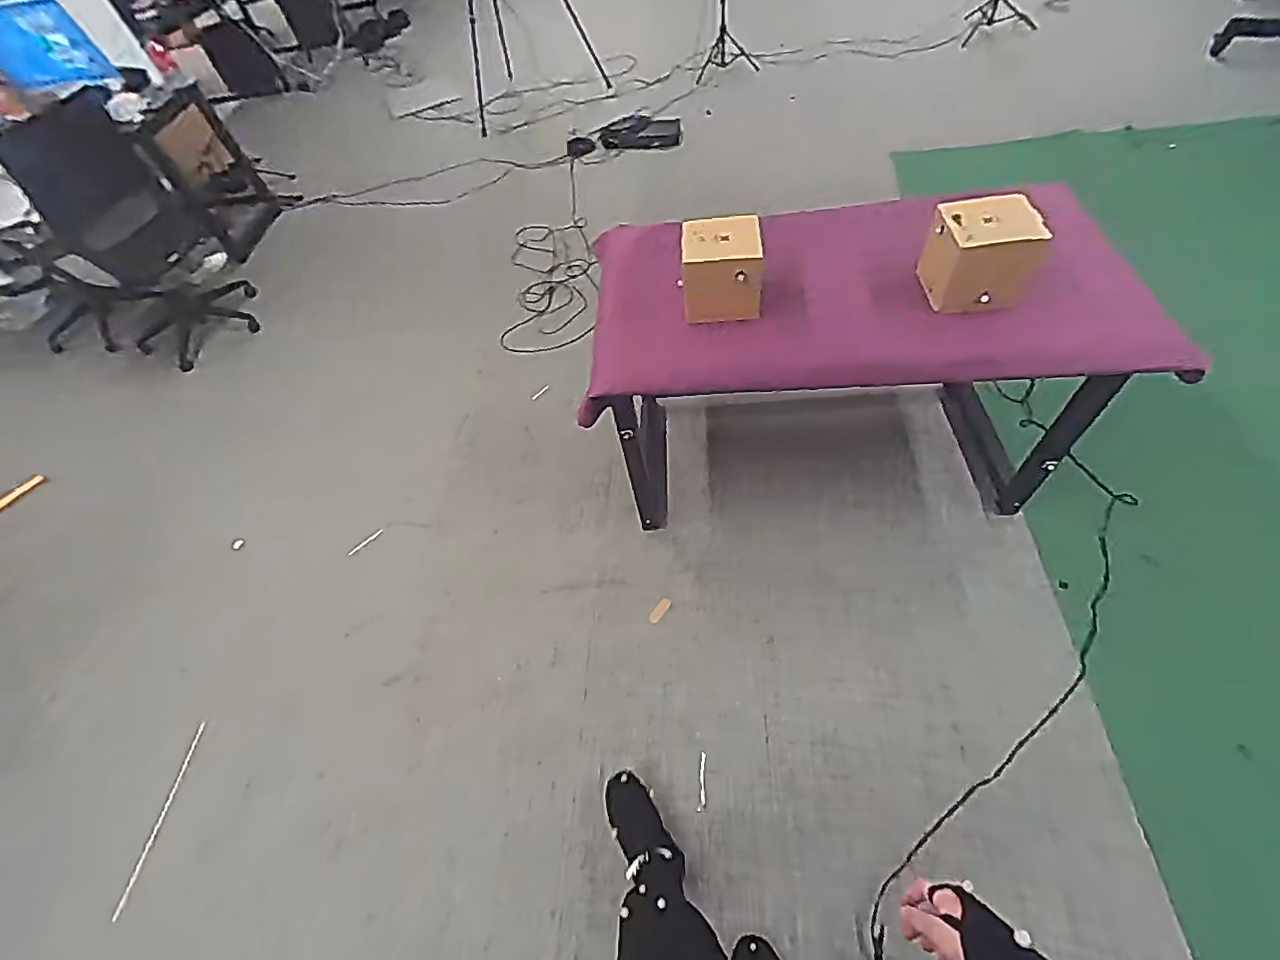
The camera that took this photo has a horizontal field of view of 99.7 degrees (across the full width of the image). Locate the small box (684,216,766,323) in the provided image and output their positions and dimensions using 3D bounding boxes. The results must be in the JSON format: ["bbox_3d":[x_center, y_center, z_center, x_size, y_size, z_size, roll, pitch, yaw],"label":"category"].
[{"bbox_3d":[0.198,-0.492,1.277,0.179,0.176,0.168,-2,55,9],"label":"small box"}]

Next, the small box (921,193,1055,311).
[{"bbox_3d":[0.744,-0.491,1.179,0.179,0.176,0.168,-3,55,8],"label":"small box"}]
